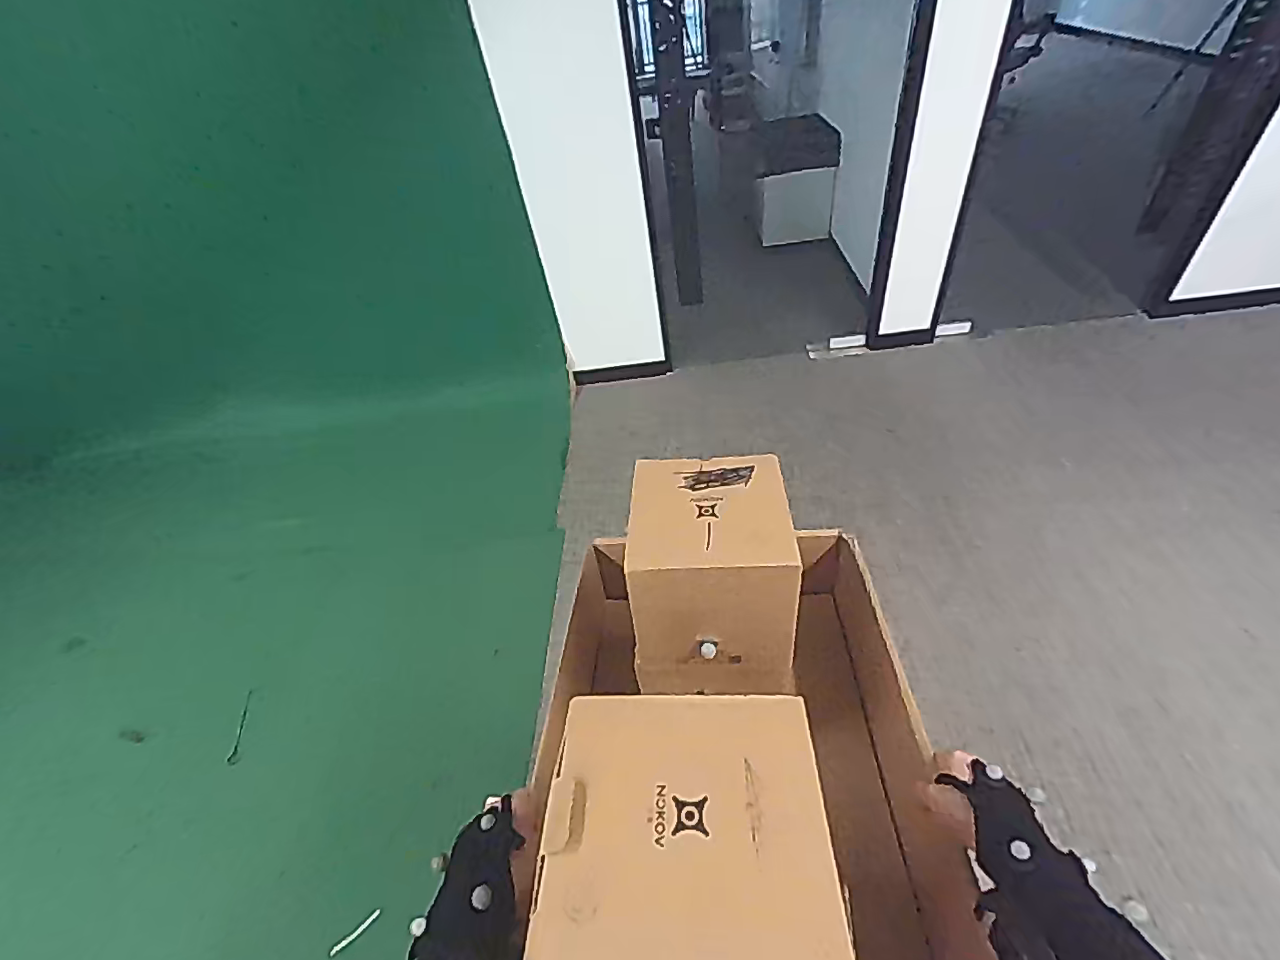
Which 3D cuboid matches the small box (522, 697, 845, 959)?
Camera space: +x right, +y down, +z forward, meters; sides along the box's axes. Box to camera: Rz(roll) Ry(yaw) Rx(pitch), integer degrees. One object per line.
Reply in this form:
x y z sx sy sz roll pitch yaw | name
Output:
0.034 0.279 0.392 0.179 0.176 0.168 -2 37 6 | small box

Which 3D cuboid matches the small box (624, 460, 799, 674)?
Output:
0.079 0.095 0.616 0.168 0.176 0.179 -2 39 7 | small box
